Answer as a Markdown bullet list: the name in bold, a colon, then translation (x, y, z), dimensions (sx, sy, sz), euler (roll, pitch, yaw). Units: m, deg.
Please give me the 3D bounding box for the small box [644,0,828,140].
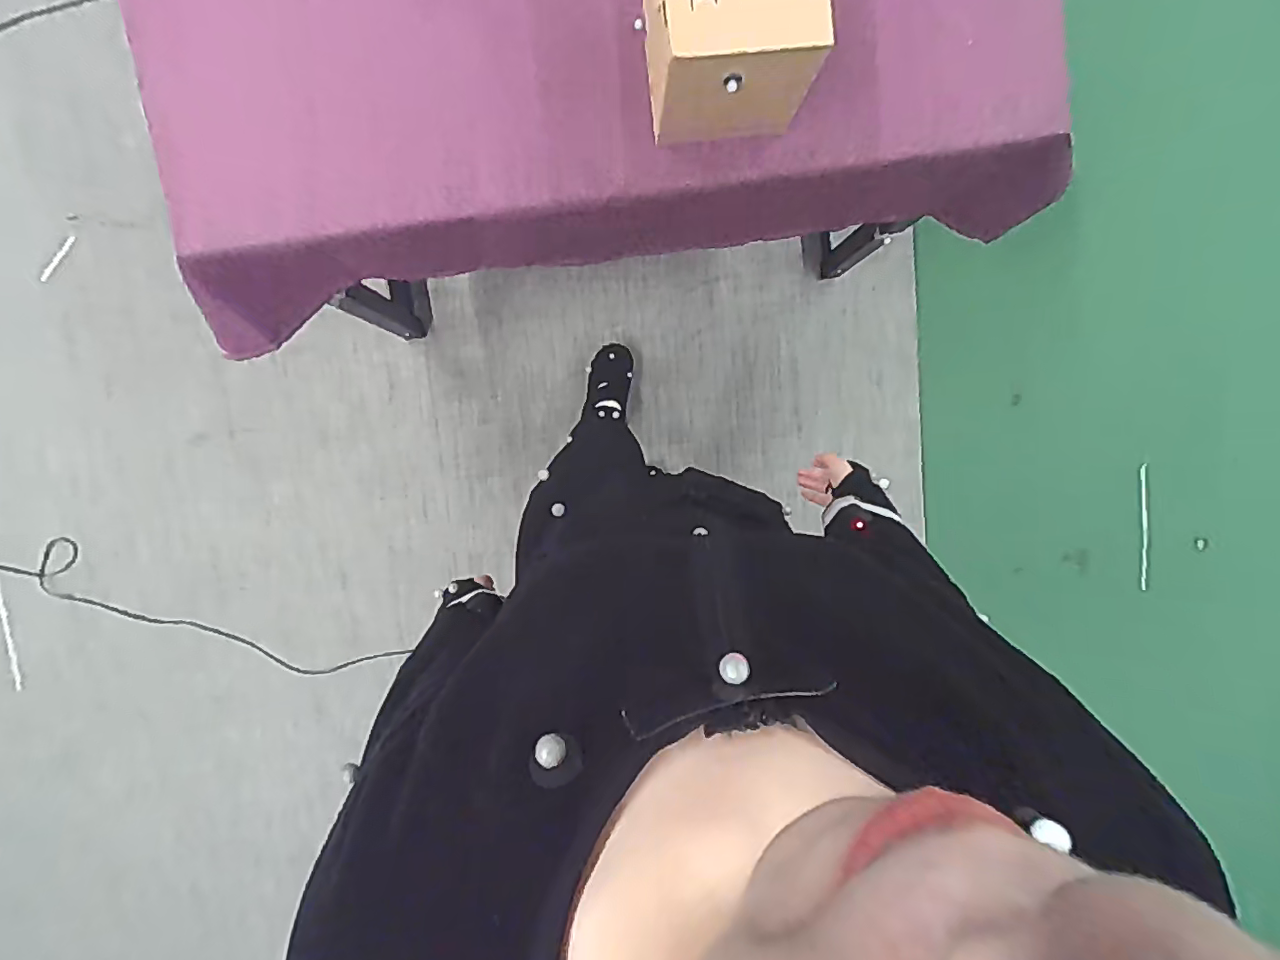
- **small box**: translation (0.099, -0.528, 0.634), dimensions (0.179, 0.176, 0.168), euler (-7, 95, -3)
